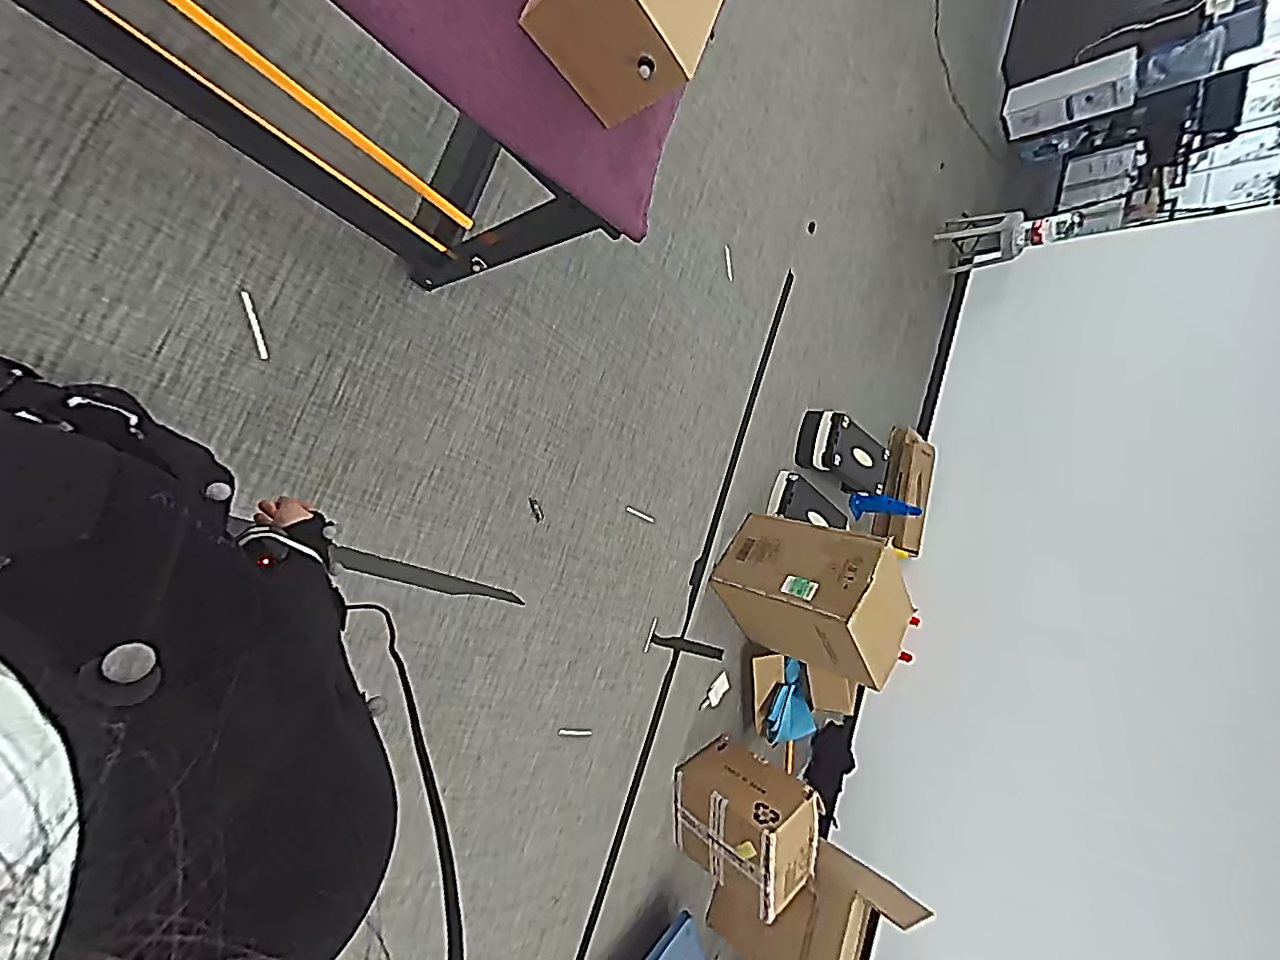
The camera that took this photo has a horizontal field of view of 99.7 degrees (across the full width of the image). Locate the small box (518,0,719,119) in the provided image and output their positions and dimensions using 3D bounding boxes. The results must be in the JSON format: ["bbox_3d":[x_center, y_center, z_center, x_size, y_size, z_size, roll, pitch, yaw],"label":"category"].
[{"bbox_3d":[-0.028,-0.628,0.725,0.179,0.176,0.168,31,73,-42],"label":"small box"}]
